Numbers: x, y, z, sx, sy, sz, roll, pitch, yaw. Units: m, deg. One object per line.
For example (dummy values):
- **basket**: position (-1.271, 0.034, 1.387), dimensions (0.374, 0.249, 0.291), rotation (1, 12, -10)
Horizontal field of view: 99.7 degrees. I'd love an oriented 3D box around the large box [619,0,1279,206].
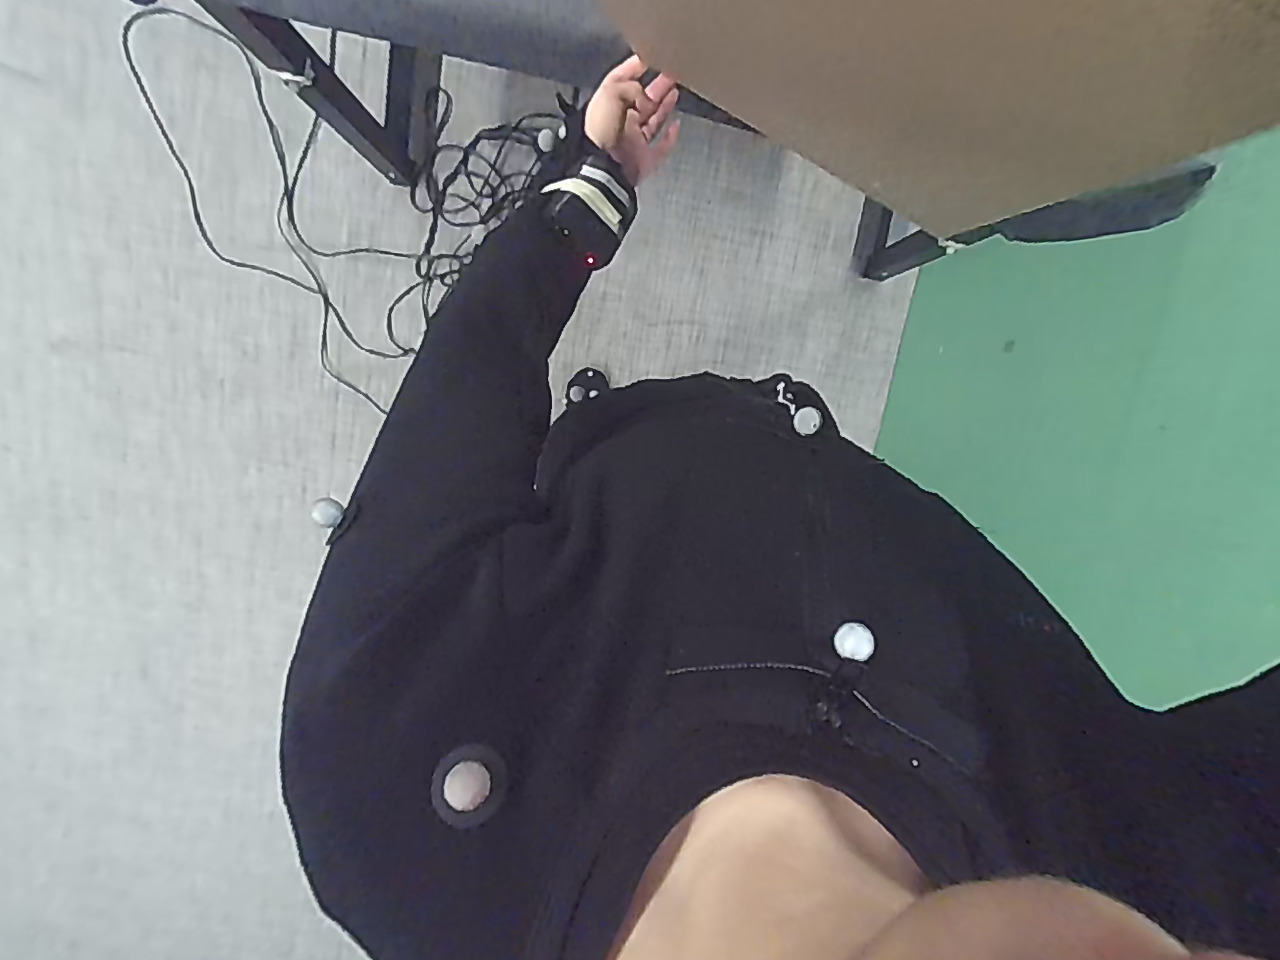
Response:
- **large box**: position (0.152, -0.363, 0.235), dimensions (0.320, 0.408, 0.320), rotation (31, 114, 0)
